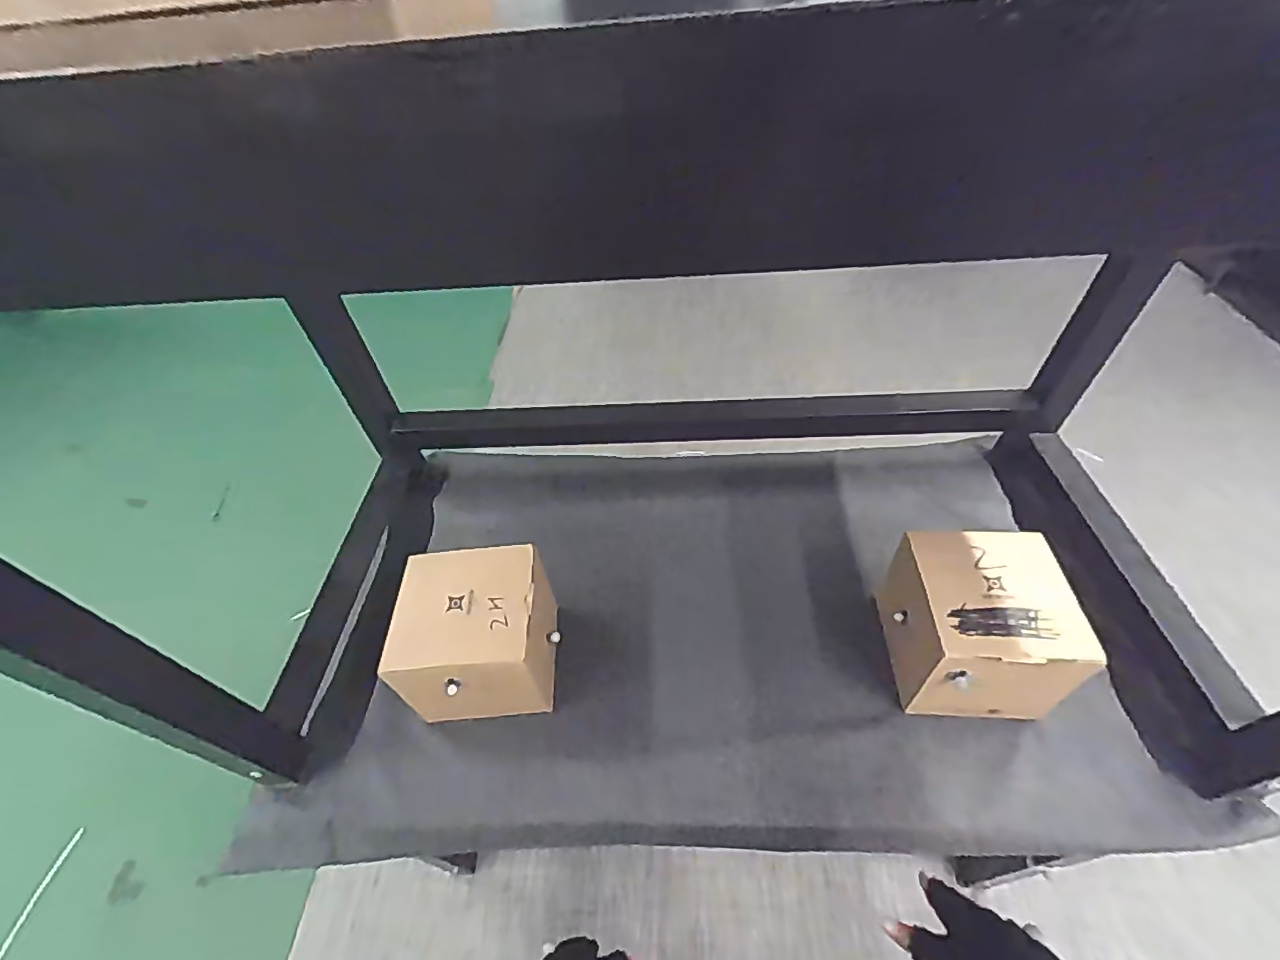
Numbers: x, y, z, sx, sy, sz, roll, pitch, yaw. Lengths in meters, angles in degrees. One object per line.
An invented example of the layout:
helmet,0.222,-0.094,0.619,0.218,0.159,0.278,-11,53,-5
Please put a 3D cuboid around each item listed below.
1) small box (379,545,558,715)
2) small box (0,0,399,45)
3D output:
small box,-0.218,0.209,0.742,0.179,0.176,0.168,-5,48,1
small box,-0.173,-0.269,0.184,0.168,0.176,0.179,-3,47,3
